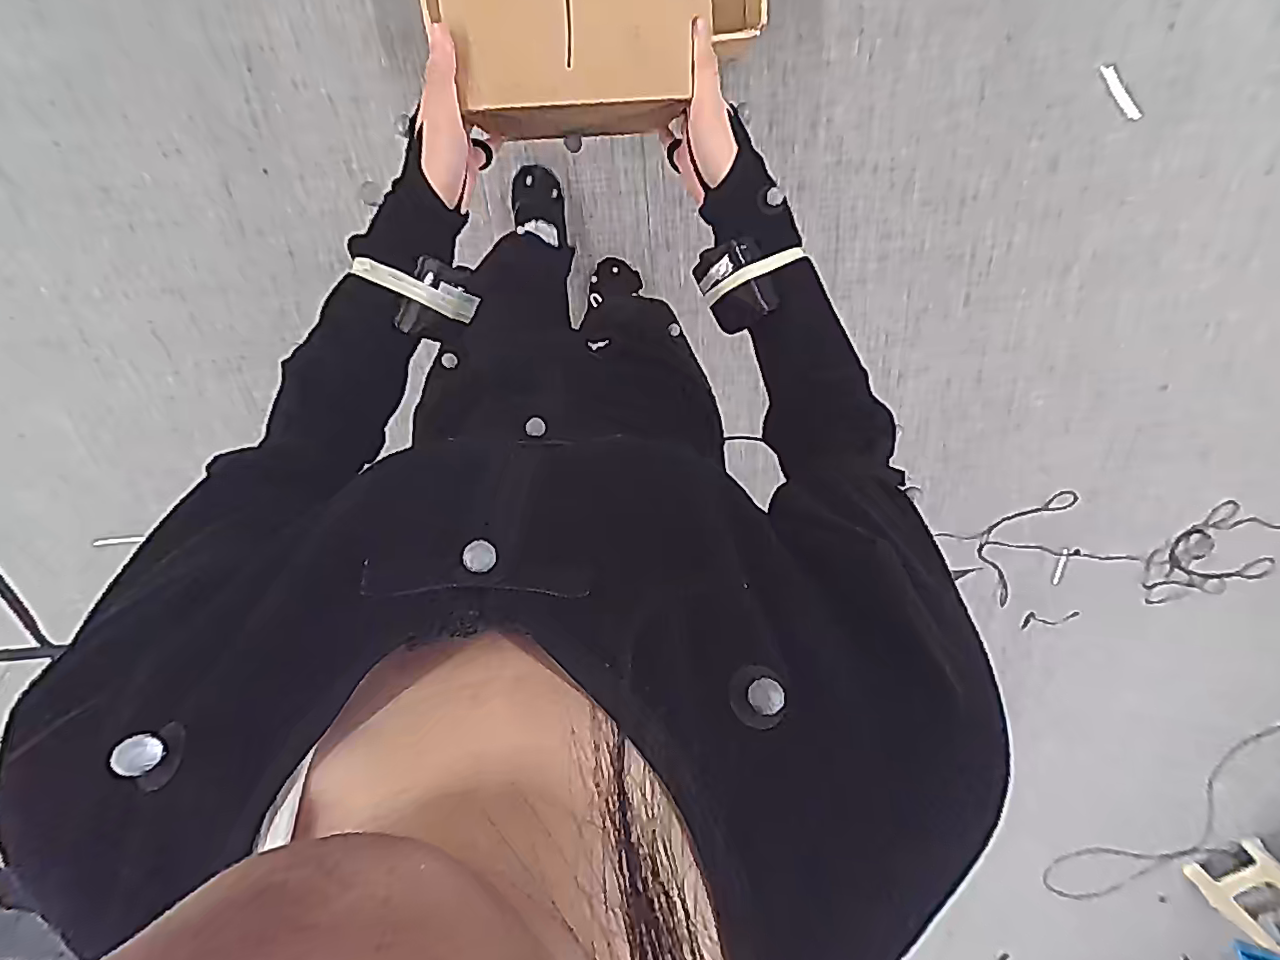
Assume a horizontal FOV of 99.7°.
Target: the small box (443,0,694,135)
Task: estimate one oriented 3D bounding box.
[{"bbox_3d":[-0.054,-0.376,0.407,0.168,0.176,0.179,-4,117,-3],"label":"small box"}]
